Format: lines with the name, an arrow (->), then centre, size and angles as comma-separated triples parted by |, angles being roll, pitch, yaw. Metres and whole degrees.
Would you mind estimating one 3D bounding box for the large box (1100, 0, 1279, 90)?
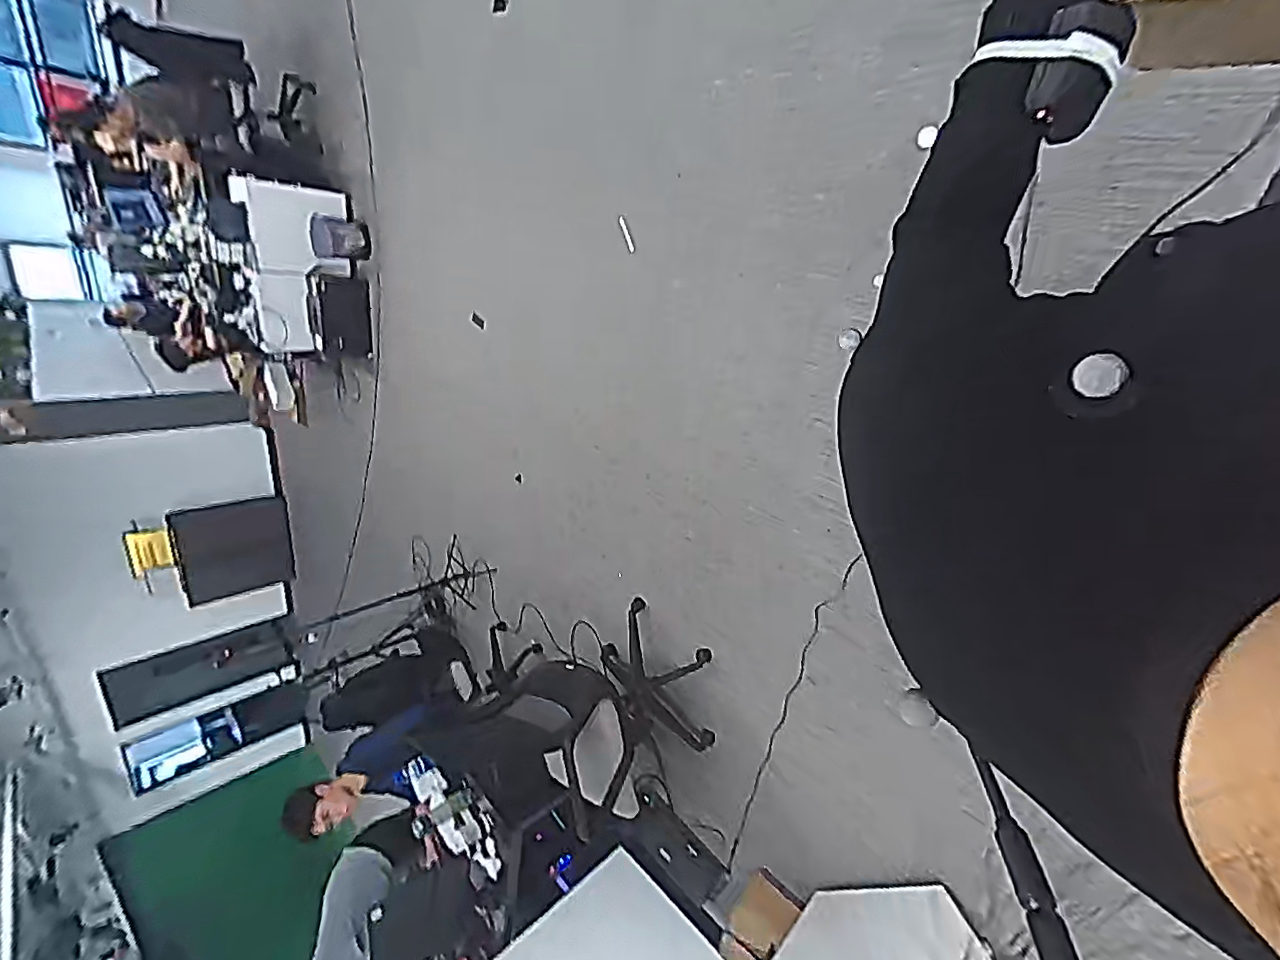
large box -> 0.559, -0.435, 0.290 | 0.408, 0.320, 0.320 | 23, 126, 34
